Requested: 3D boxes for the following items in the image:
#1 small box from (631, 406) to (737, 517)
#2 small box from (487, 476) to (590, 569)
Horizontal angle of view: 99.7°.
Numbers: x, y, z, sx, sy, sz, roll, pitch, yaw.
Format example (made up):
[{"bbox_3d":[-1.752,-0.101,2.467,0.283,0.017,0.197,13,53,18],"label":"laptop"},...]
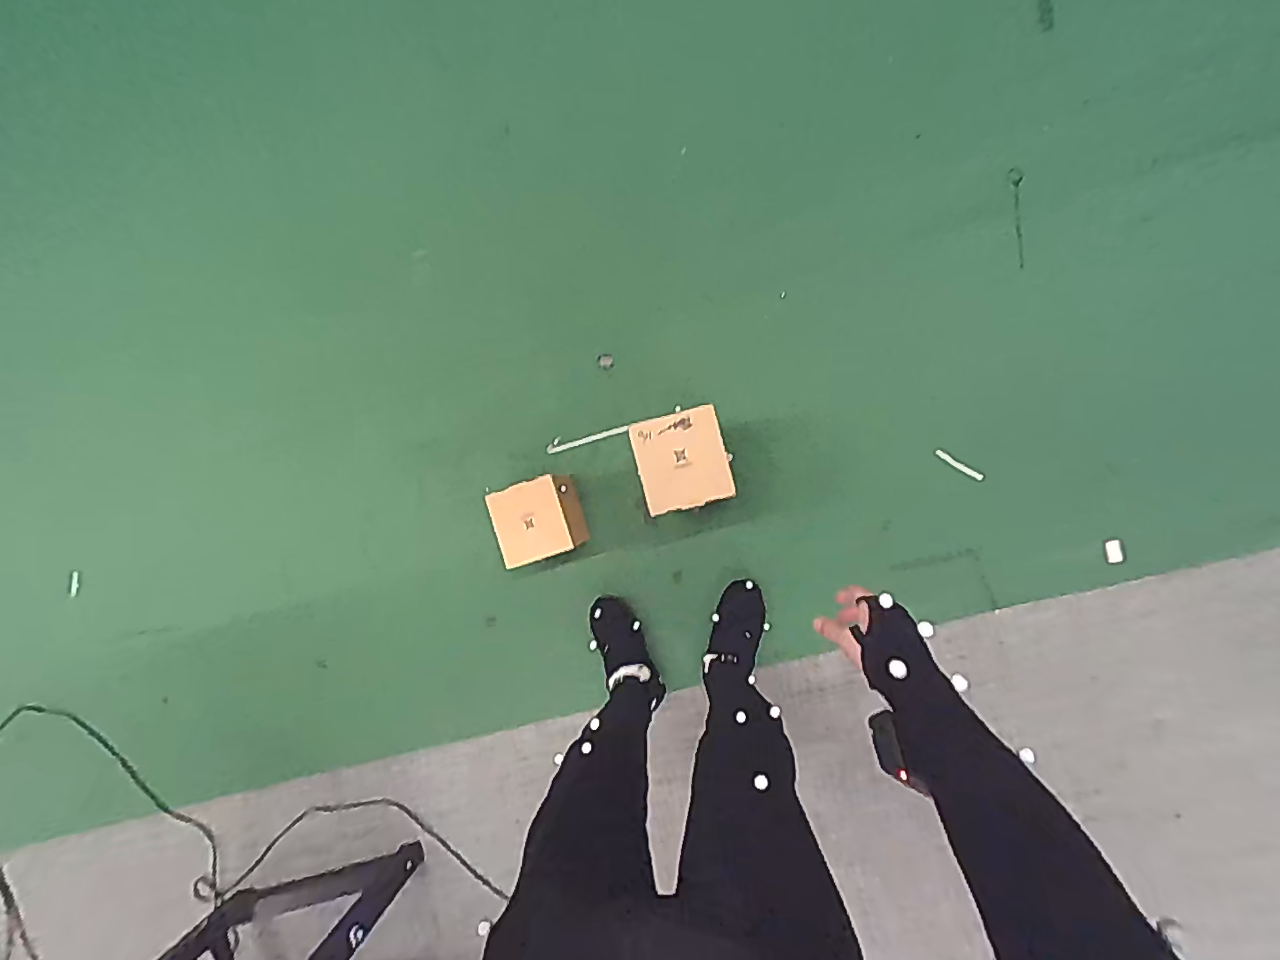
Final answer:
[{"bbox_3d":[0.090,-0.036,1.068,0.168,0.176,0.179,-14,90,7],"label":"small box"},{"bbox_3d":[-0.231,0.094,1.279,0.168,0.176,0.179,-19,87,8],"label":"small box"}]
